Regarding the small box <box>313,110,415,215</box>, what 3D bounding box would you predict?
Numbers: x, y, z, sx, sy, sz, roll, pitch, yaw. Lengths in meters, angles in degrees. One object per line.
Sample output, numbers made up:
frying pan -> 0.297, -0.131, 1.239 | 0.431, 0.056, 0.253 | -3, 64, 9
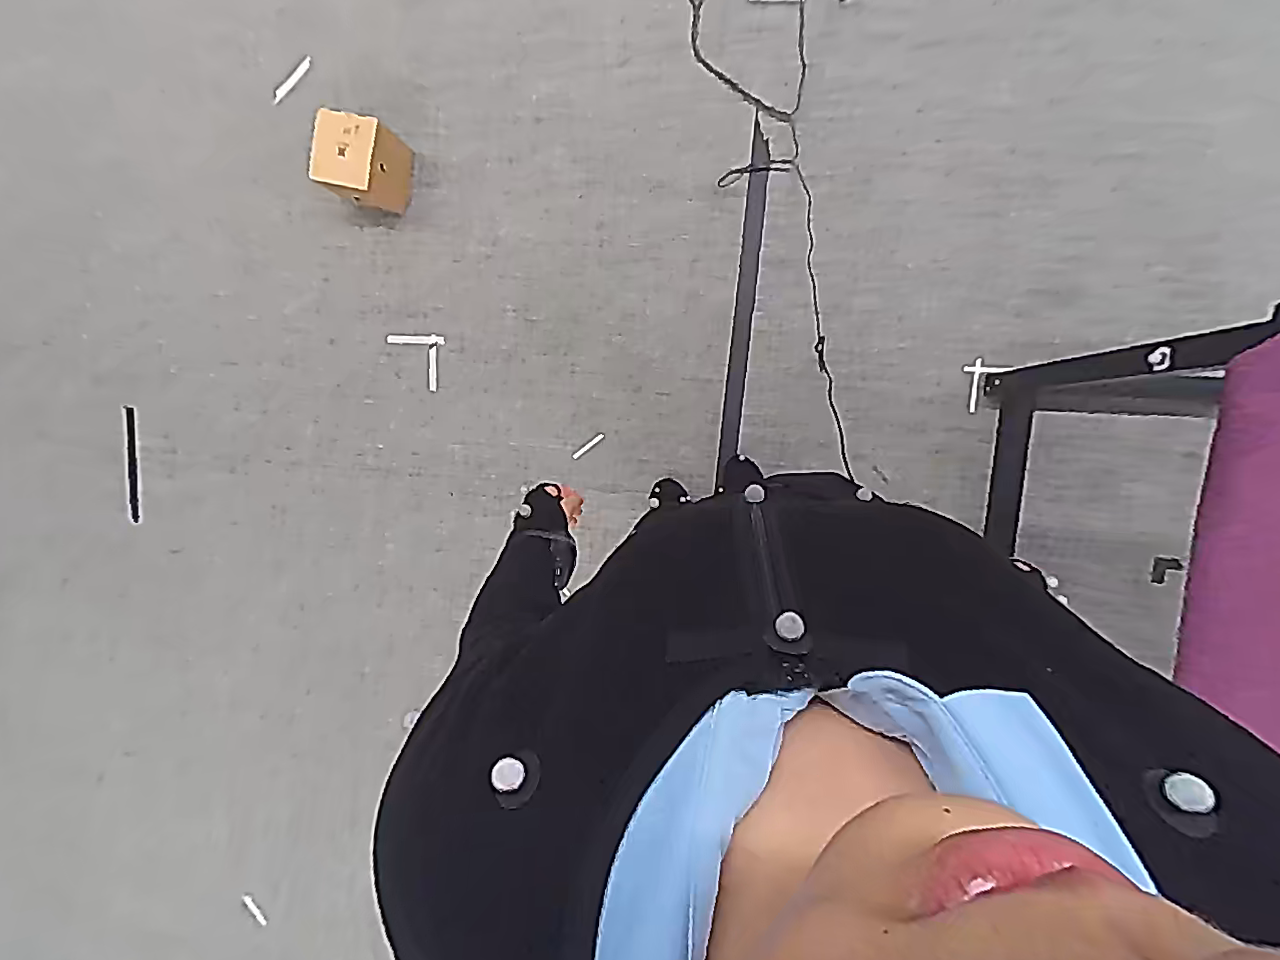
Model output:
small box -> -0.724, -0.831, 1.433 | 0.168, 0.176, 0.179 | 14, 97, 5
